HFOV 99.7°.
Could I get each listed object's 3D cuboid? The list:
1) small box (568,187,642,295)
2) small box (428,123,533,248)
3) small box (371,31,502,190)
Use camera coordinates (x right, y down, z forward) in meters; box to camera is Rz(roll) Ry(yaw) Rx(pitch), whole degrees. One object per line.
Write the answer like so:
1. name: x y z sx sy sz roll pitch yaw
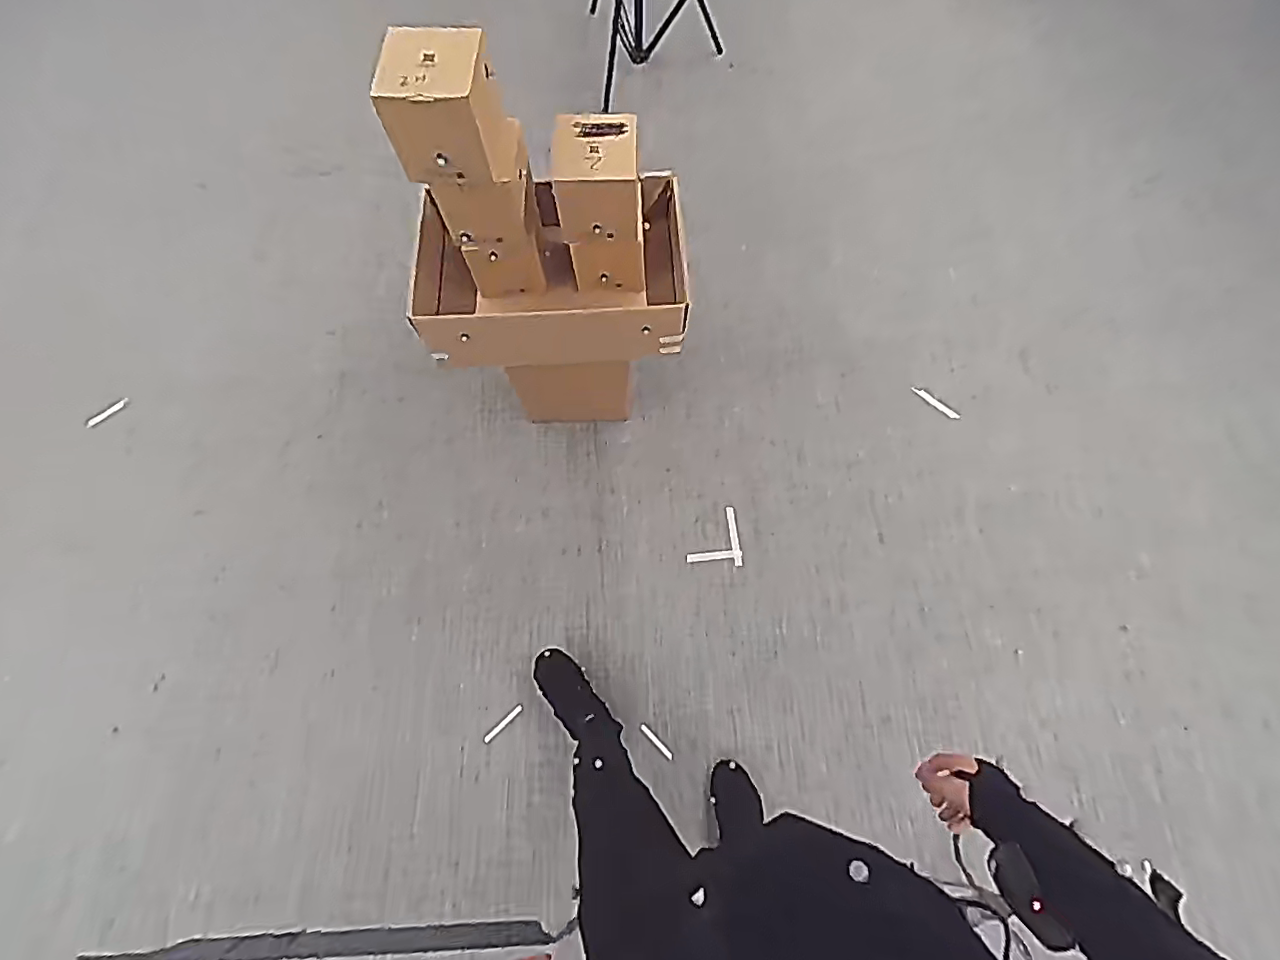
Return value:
1. small box: -0.079 -0.570 1.300 0.168 0.176 0.179 -2 71 0
2. small box: -0.326 -0.613 1.141 0.168 0.176 0.179 1 70 0
3. small box: -0.356 -0.667 0.985 0.168 0.176 0.179 2 71 0
